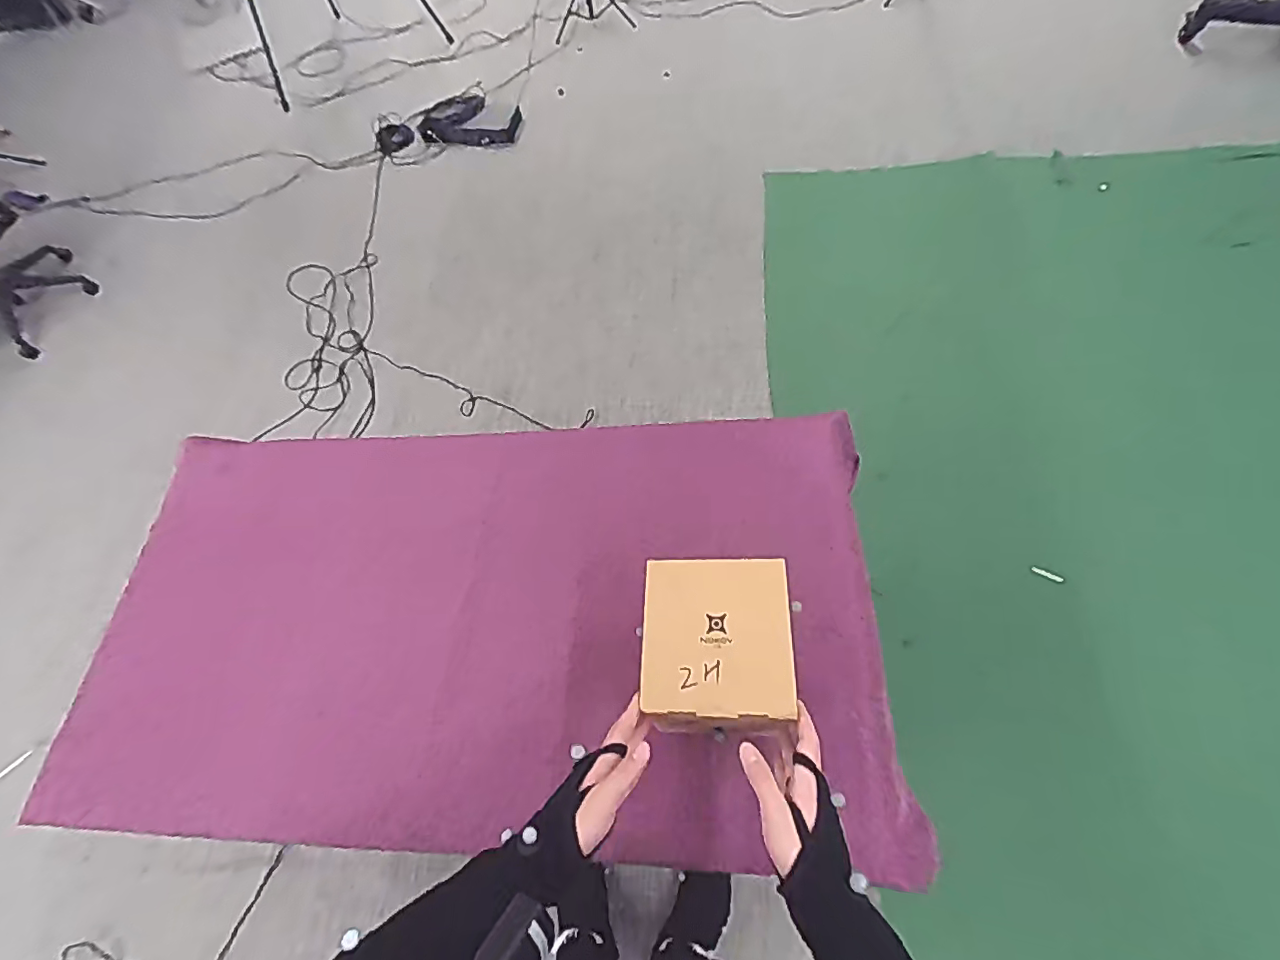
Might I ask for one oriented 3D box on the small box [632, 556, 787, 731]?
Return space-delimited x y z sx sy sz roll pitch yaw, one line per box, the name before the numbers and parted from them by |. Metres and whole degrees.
small box | 0.091 0.208 0.679 0.168 0.176 0.179 -2 60 12
